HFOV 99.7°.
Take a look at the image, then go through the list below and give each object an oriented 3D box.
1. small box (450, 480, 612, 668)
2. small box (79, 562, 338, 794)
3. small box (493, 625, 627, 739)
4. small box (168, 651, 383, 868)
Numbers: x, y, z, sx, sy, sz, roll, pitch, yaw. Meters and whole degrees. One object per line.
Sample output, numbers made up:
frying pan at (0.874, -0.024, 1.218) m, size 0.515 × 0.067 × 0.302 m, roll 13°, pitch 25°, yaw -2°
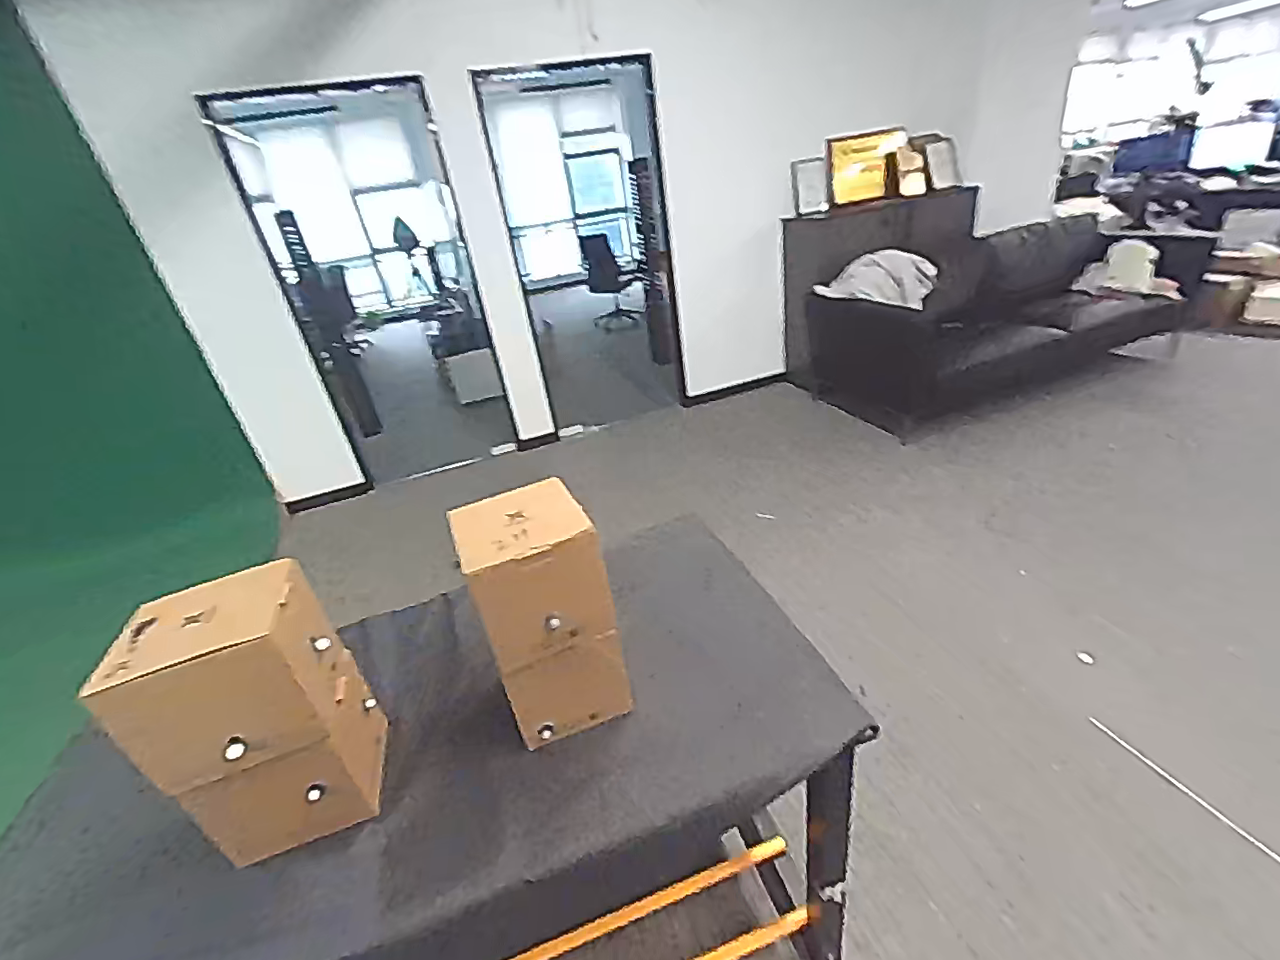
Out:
small box at (-0.154, 0.125, 0.760) m, size 0.168 × 0.176 × 0.179 m, roll -19°, pitch 29°, yaw -18°
small box at (-0.494, 0.233, 0.660) m, size 0.179 × 0.176 × 0.168 m, roll -17°, pitch 27°, yaw -16°
small box at (-0.128, 0.268, 0.838) m, size 0.168 × 0.176 × 0.179 m, roll -16°, pitch 28°, yaw -14°
small box at (-0.472, 0.376, 0.740) m, size 0.179 × 0.176 × 0.168 m, roll -17°, pitch 27°, yaw -13°
